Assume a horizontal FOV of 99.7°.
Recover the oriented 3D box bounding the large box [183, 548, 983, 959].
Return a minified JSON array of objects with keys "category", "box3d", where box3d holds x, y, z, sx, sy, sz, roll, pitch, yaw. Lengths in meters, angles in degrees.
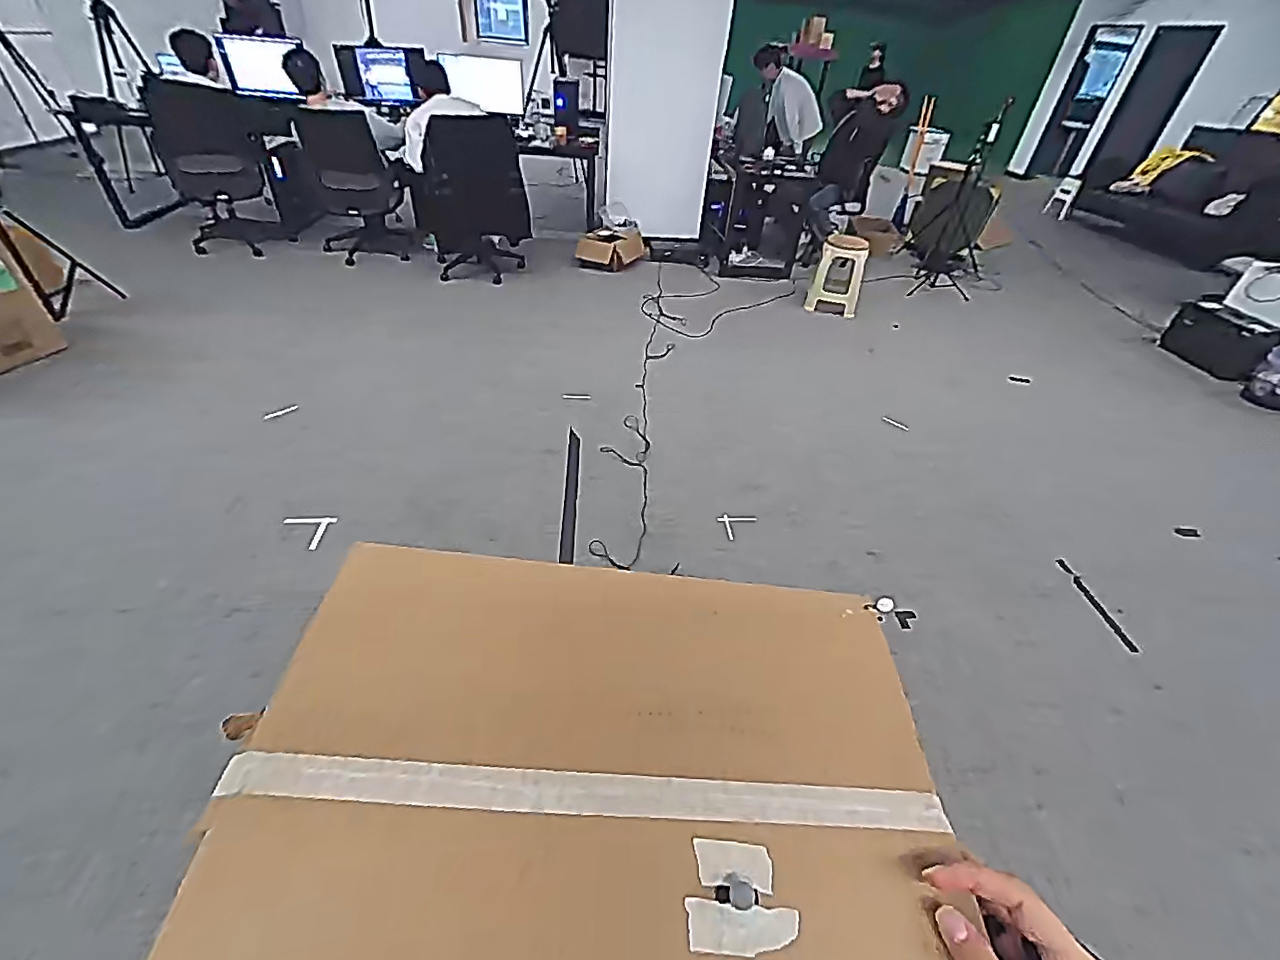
[{"category":"large box","box3d":[-0.036,0.286,0.425,0.408,0.320,0.320,8,45,-6]}]
